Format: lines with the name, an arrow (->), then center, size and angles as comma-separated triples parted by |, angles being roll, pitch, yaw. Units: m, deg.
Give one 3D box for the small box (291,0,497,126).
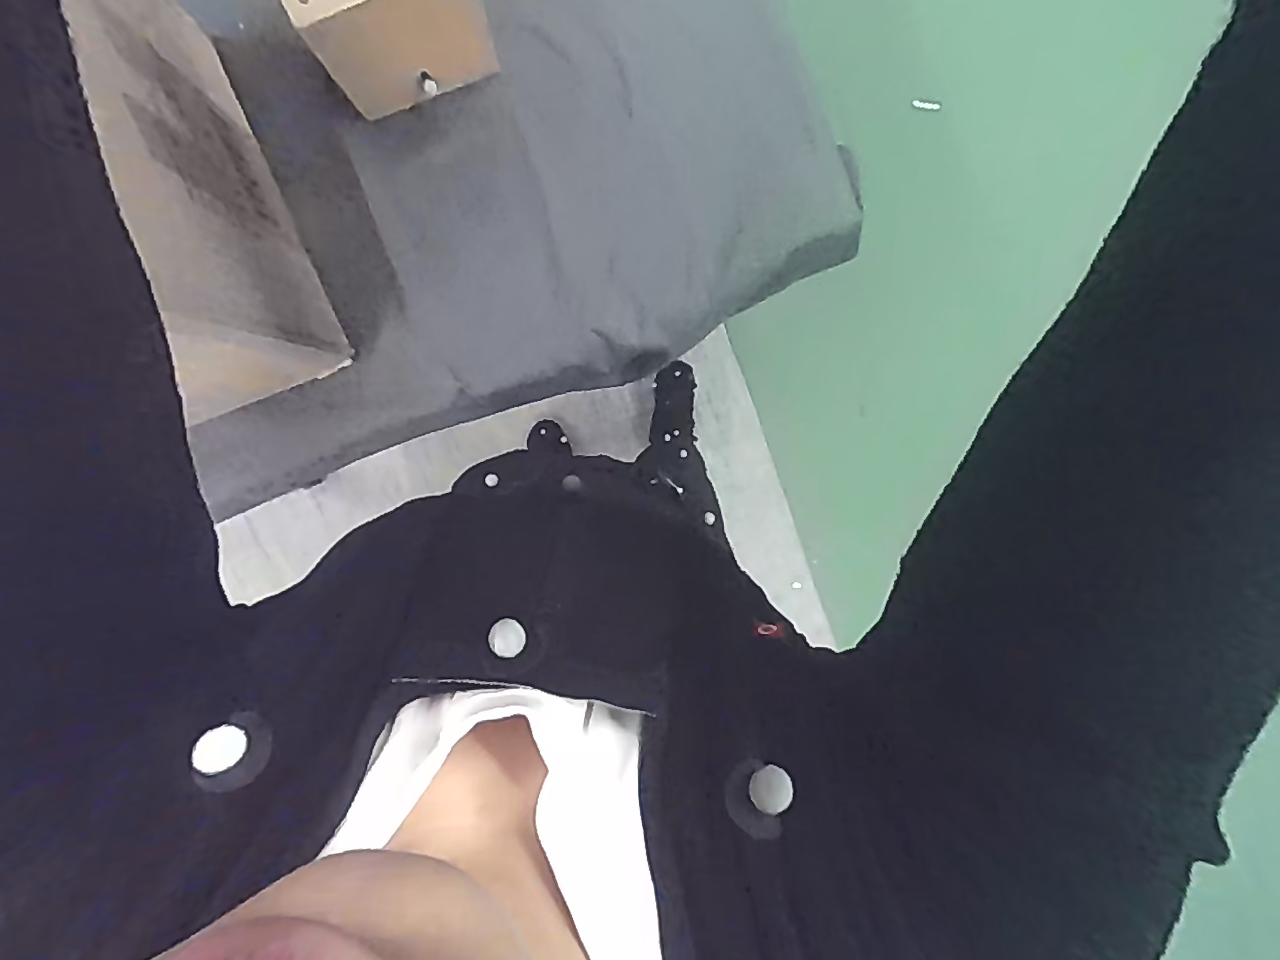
small box -> -0.265, -0.525, 0.574 | 0.179, 0.176, 0.168 | -23, 98, -1
